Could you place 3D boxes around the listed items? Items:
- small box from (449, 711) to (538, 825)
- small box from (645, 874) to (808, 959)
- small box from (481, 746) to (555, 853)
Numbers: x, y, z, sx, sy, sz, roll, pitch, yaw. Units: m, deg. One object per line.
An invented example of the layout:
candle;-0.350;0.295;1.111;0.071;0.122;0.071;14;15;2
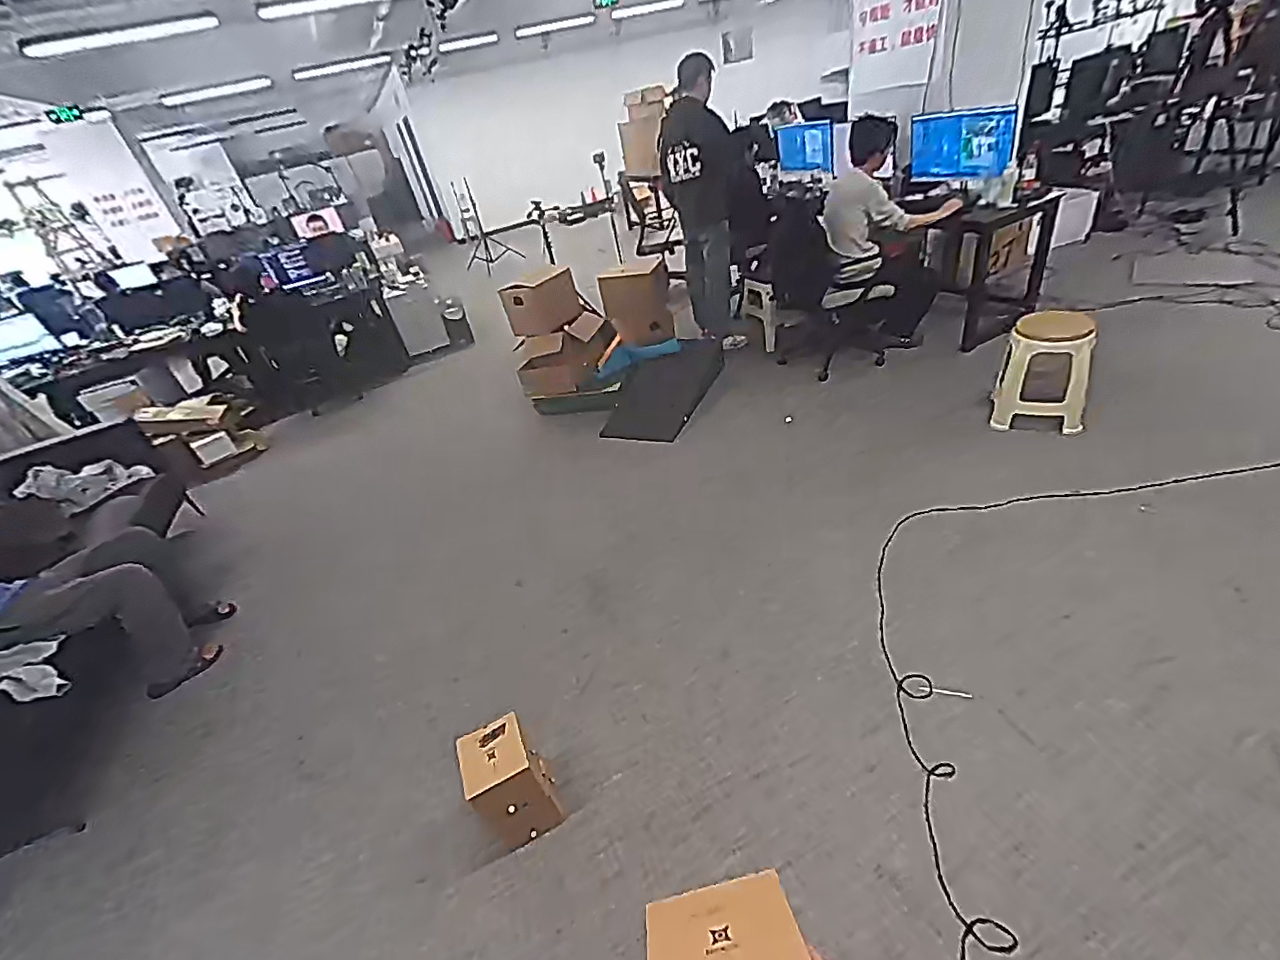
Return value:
small box;-0.385;0.755;1.419;0.168;0.176;0.179;-23;36;-11
small box;0.107;0.572;0.565;0.168;0.176;0.179;-14;-6;-3
small box;-0.354;0.902;1.529;0.179;0.176;0.168;-24;37;-16
